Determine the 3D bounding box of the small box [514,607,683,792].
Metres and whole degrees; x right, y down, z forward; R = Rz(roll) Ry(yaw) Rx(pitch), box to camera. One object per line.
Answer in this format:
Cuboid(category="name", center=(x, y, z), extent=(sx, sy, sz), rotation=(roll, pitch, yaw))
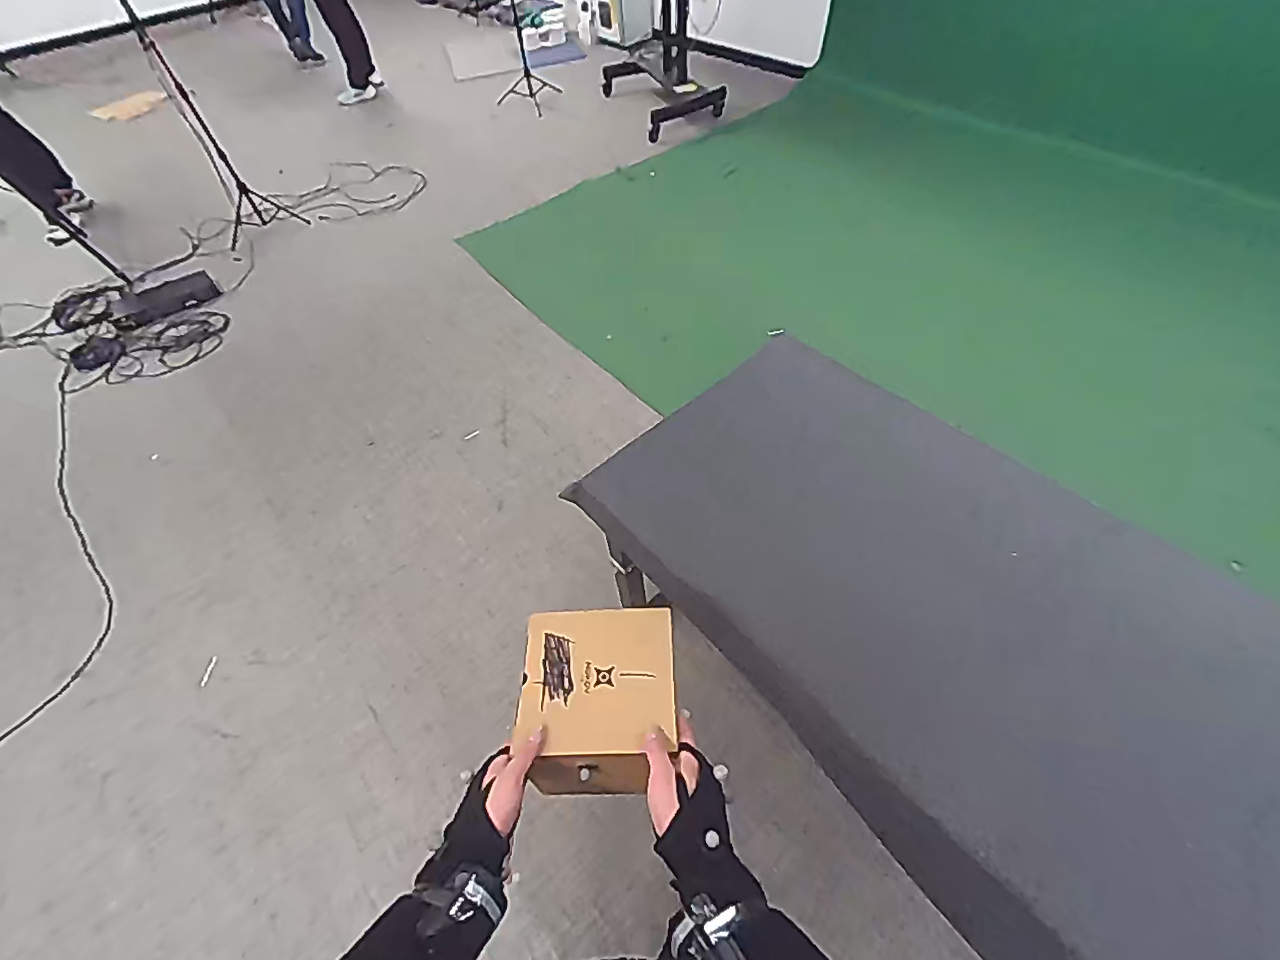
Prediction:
Cuboid(category="small box", center=(-0.039, 0.270, 0.658), extent=(0.179, 0.176, 0.168), rotation=(-2, 49, 1))
